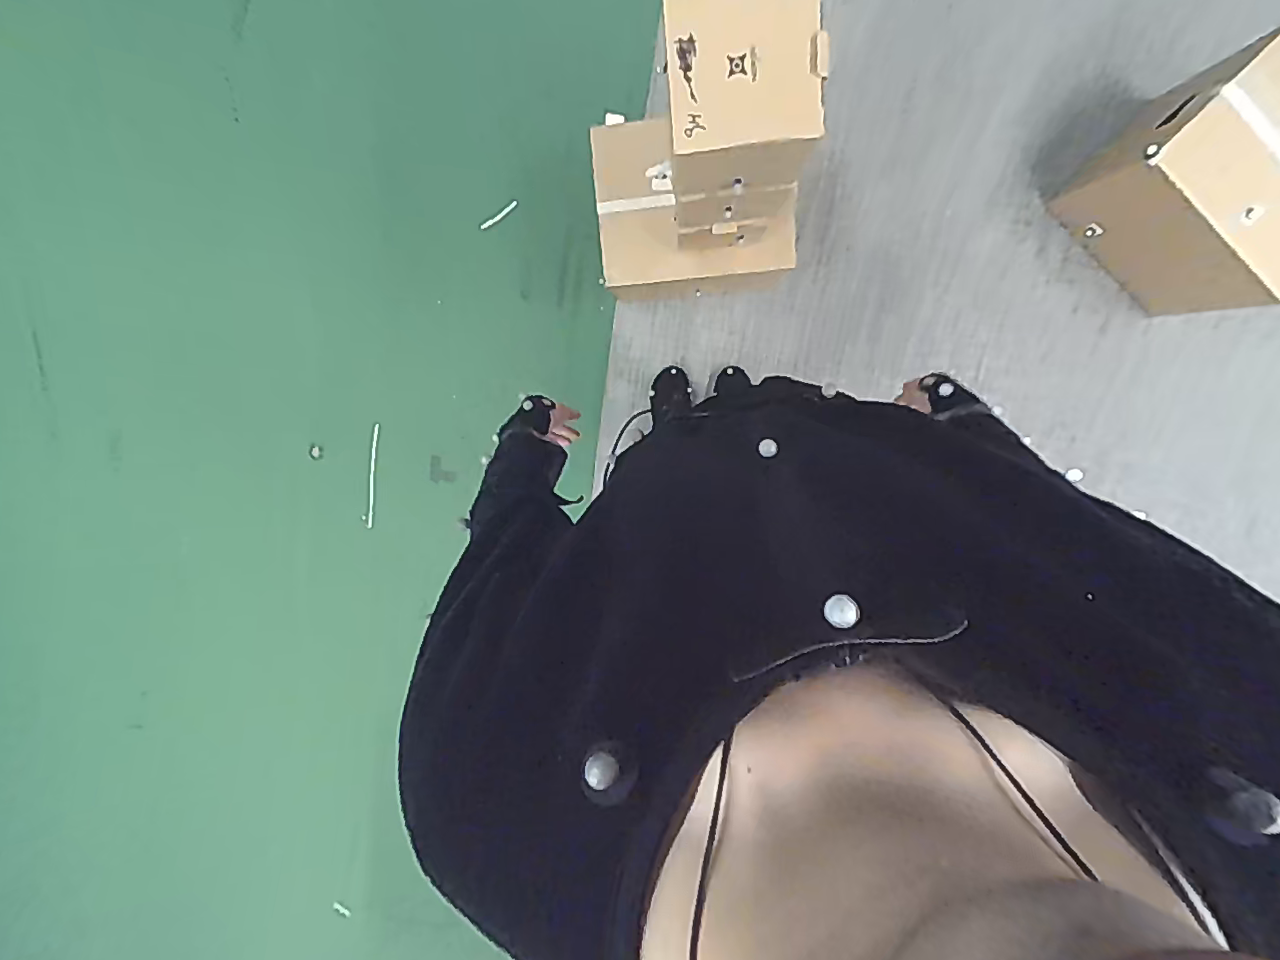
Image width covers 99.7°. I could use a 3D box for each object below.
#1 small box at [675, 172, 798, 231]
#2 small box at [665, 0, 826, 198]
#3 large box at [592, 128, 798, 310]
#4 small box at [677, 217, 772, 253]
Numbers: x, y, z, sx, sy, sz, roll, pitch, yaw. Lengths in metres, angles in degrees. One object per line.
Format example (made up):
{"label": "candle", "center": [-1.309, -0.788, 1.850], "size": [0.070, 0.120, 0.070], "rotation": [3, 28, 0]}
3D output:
{"label": "small box", "center": [0.140, -0.505, 0.846], "size": [0.179, 0.176, 0.168], "rotation": [-5, 101, 6]}
{"label": "small box", "center": [0.124, -0.476, 0.685], "size": [0.179, 0.176, 0.168], "rotation": [-4, 100, 4]}
{"label": "large box", "center": [0.129, -0.587, 1.248], "size": [0.408, 0.320, 0.320], "rotation": [-4, 99, 7]}
{"label": "small box", "center": [0.151, -0.532, 1.007], "size": [0.168, 0.176, 0.179], "rotation": [-4, 100, 5]}
